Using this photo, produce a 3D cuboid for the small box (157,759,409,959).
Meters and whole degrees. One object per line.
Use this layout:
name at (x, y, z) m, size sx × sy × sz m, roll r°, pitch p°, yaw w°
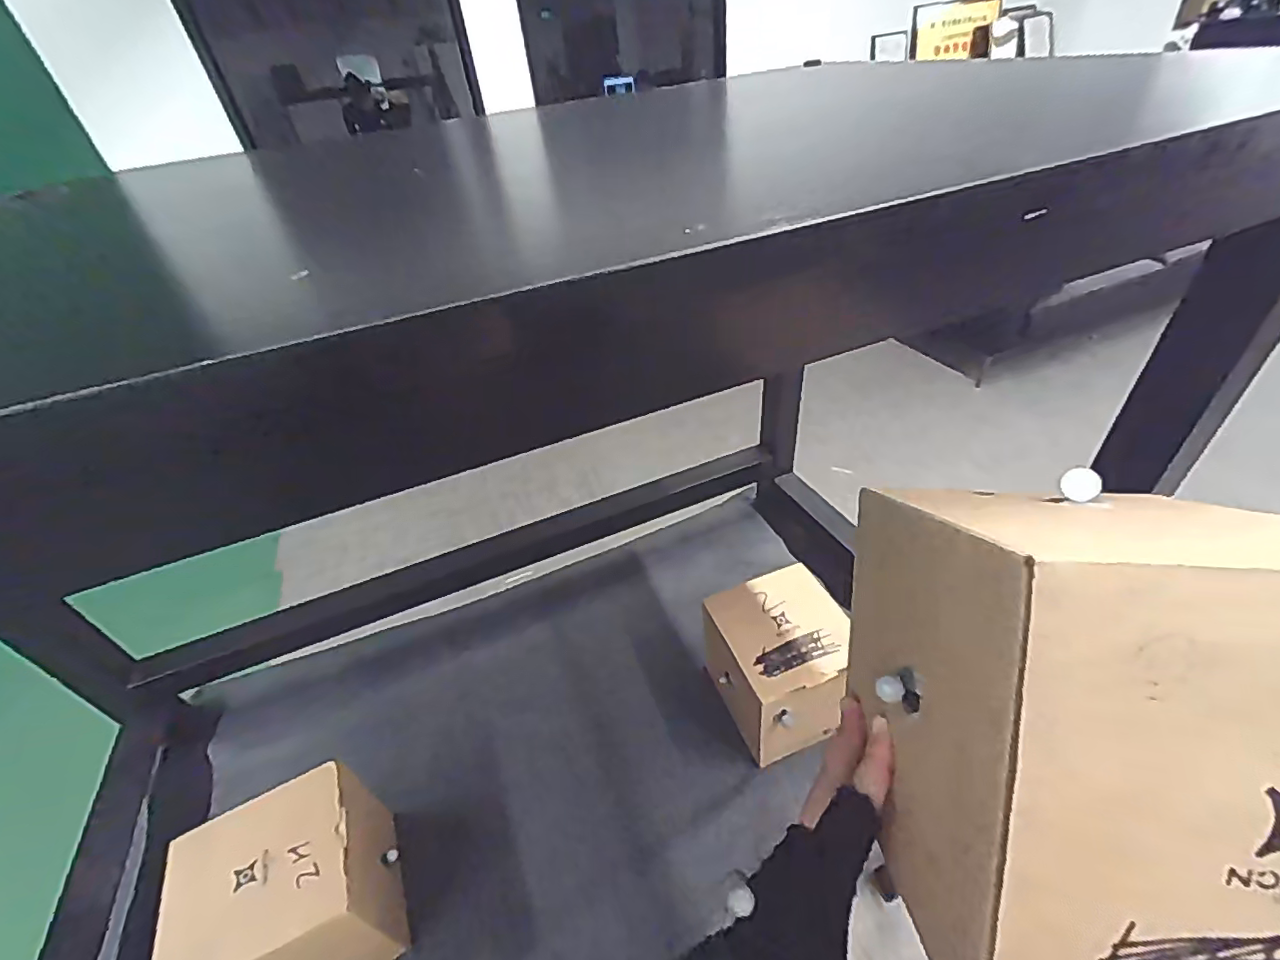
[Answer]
small box at (-0.388, 0.466, 0.611) m, size 0.179 × 0.176 × 0.168 m, roll -22°, pitch 41°, yaw -18°
